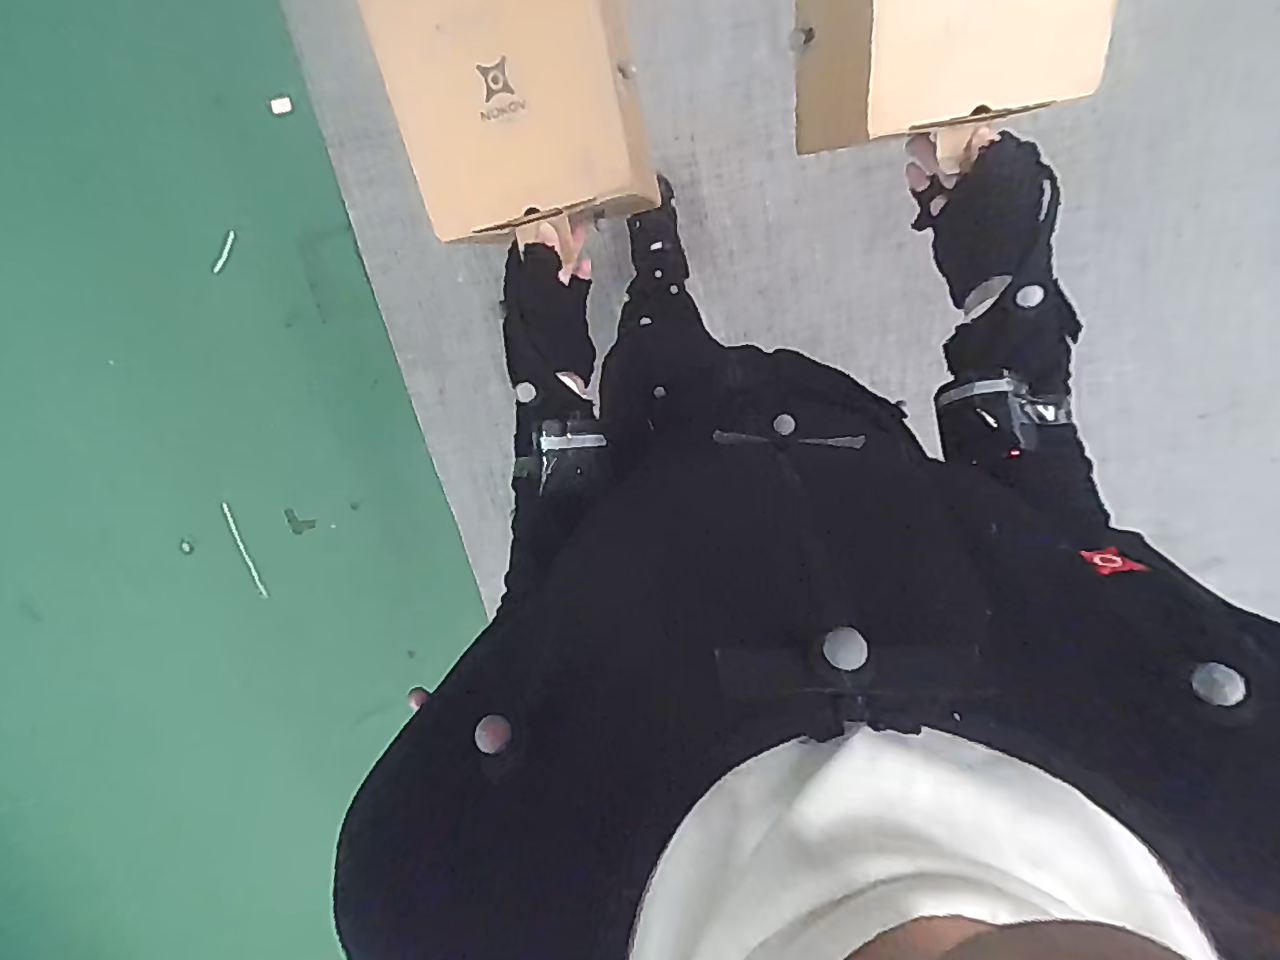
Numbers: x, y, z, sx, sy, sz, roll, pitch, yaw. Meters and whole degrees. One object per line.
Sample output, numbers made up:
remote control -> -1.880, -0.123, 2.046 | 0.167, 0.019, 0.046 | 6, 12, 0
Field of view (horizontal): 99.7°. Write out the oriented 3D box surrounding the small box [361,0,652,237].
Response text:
small box -> -0.092, -0.320, 0.465 | 0.168, 0.176, 0.179 | -9, 111, 13
